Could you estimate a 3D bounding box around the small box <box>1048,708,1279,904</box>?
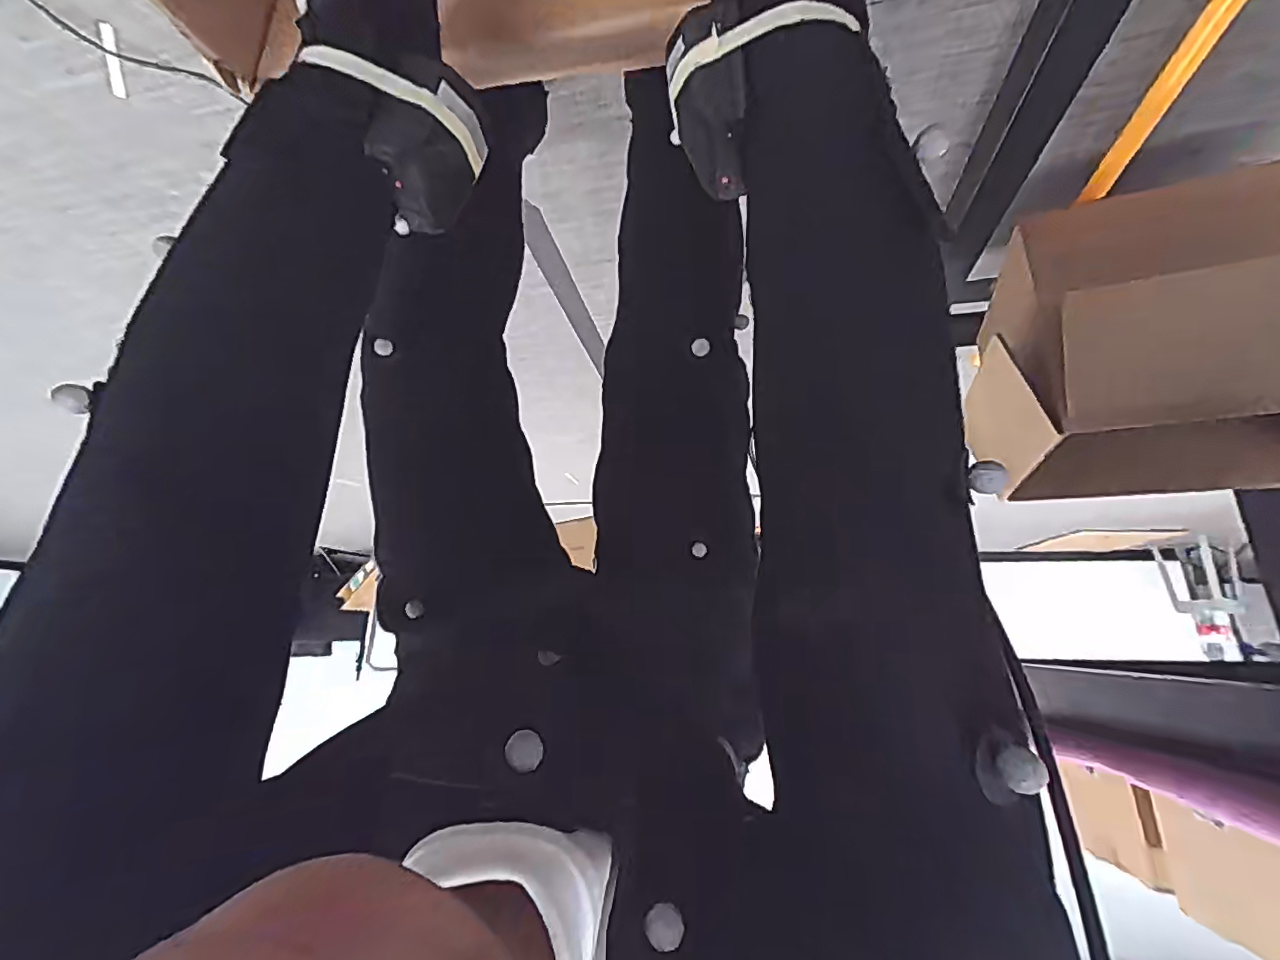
[{"bbox_3d":[0.651,0.380,0.661,0.179,0.176,0.168,-3,163,8],"label":"small box"}]
